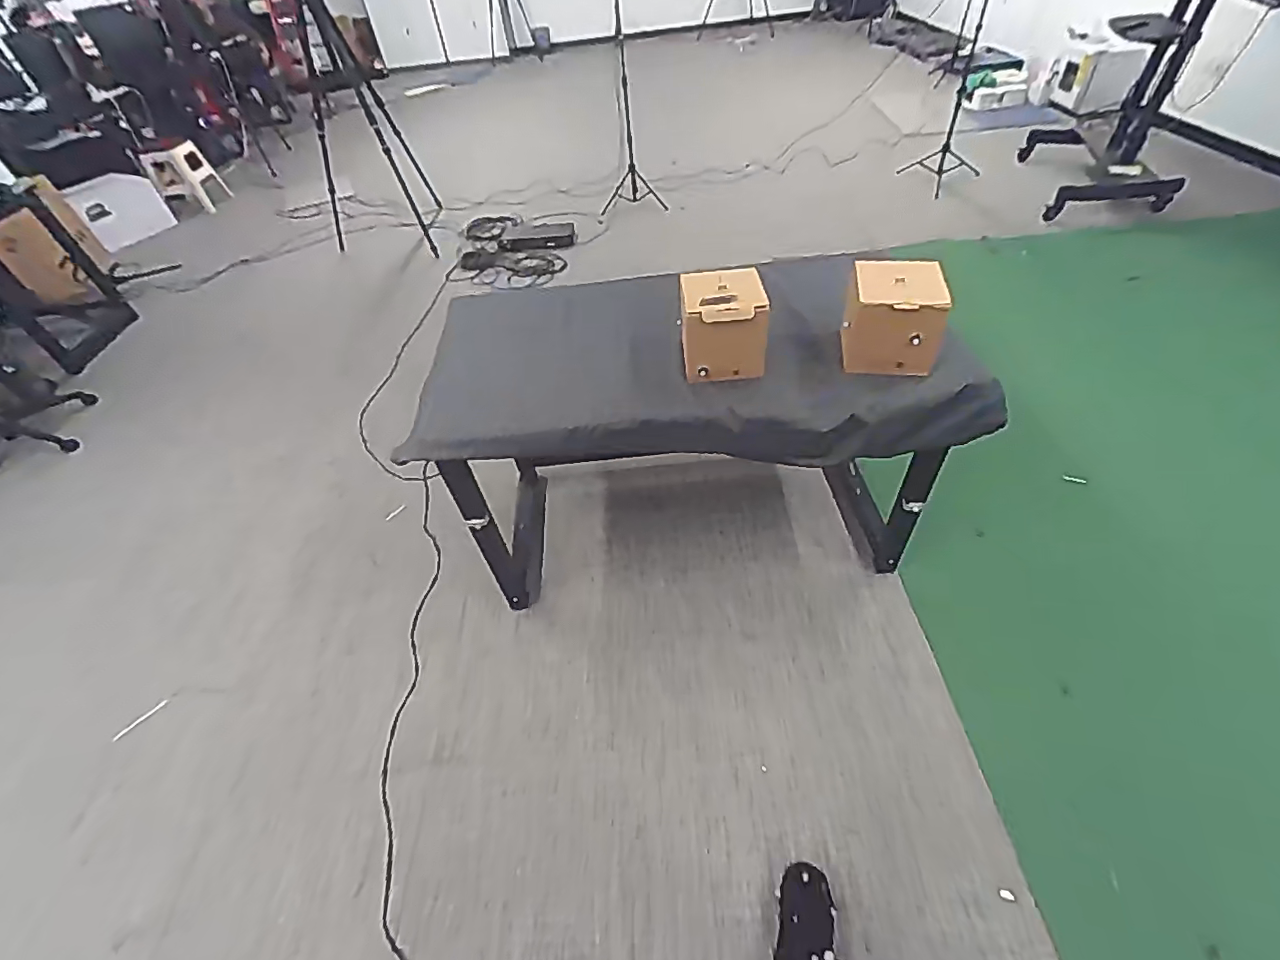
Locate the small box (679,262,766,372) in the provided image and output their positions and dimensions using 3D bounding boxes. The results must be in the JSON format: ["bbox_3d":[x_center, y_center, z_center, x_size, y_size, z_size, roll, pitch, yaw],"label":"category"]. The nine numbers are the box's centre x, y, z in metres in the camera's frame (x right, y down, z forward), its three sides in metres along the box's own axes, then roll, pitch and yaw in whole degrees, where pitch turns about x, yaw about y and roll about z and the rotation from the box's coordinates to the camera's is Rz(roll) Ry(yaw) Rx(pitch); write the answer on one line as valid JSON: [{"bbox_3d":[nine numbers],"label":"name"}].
[{"bbox_3d":[0.174,-0.346,1.169,0.168,0.176,0.179,-4,47,3],"label":"small box"}]

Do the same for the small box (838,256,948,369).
[{"bbox_3d":[0.519,-0.350,1.133,0.168,0.176,0.179,5,47,10],"label":"small box"}]
